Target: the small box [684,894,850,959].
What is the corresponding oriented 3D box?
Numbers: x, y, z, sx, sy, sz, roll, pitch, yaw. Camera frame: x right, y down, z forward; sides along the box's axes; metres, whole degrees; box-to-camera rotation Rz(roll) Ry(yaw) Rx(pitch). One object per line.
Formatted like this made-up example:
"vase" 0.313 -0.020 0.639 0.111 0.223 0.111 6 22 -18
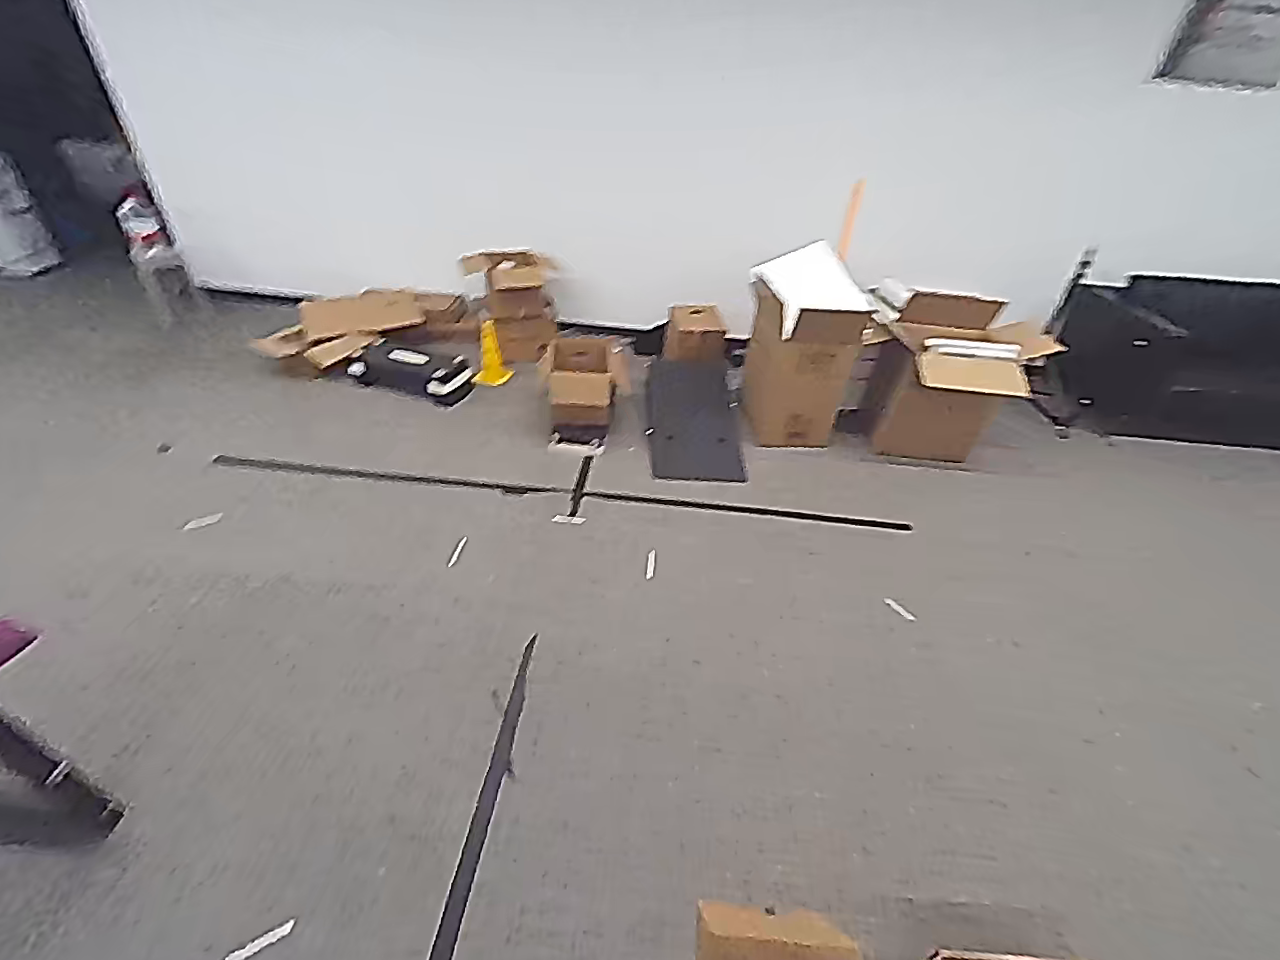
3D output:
"small box" 0.138 0.605 0.618 0.168 0.176 0.179 4 61 2
